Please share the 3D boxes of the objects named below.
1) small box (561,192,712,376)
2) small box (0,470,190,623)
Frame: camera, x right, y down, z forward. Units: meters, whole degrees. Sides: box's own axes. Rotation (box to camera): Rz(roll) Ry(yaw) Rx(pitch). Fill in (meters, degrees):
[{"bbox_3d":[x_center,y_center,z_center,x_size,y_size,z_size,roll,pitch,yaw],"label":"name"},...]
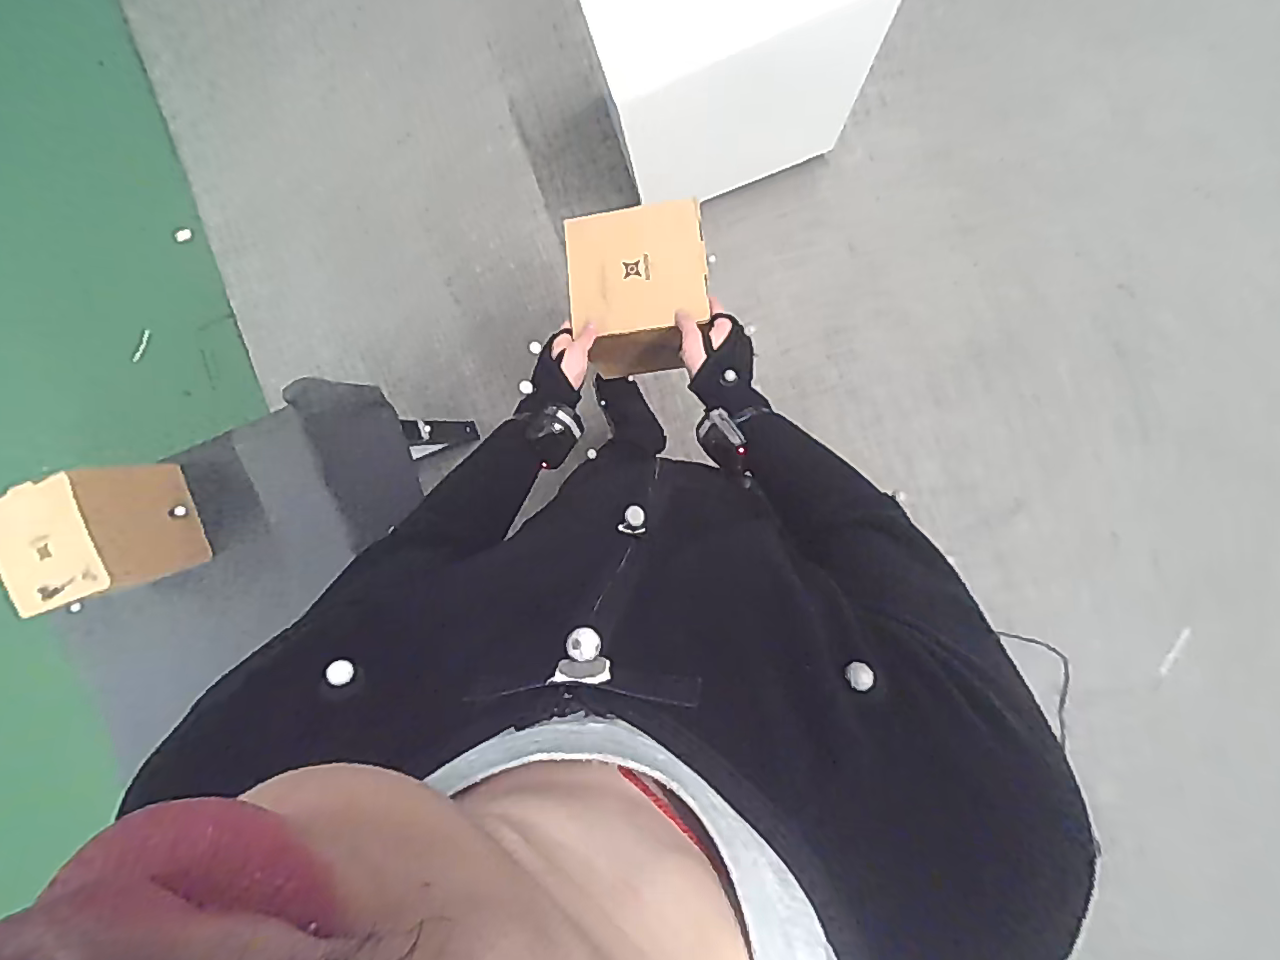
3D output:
[{"bbox_3d":[0.004,-0.252,0.736,0.179,0.176,0.168,-7,81,9],"label":"small box"},{"bbox_3d":[-0.837,0.089,0.806,0.168,0.176,0.179,-19,93,6],"label":"small box"}]
